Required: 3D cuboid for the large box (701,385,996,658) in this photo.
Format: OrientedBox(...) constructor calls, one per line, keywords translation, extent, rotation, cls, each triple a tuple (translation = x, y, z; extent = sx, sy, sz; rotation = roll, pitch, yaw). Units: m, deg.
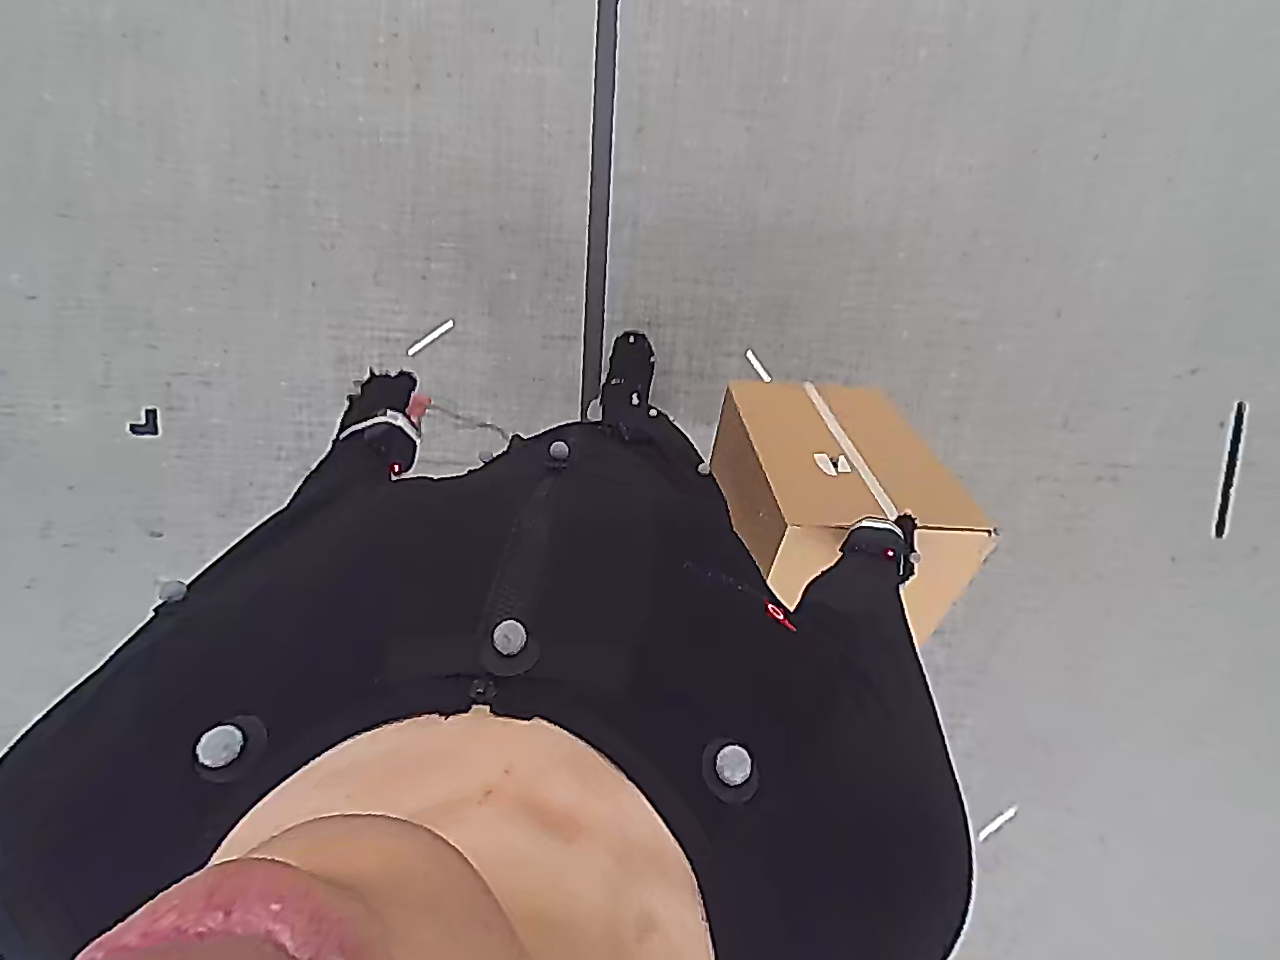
OrientedBox(translation=(0.320, 0.065, 0.989), extent=(0.320, 0.408, 0.320), rotation=(2, 127, -8), cls="large box")
